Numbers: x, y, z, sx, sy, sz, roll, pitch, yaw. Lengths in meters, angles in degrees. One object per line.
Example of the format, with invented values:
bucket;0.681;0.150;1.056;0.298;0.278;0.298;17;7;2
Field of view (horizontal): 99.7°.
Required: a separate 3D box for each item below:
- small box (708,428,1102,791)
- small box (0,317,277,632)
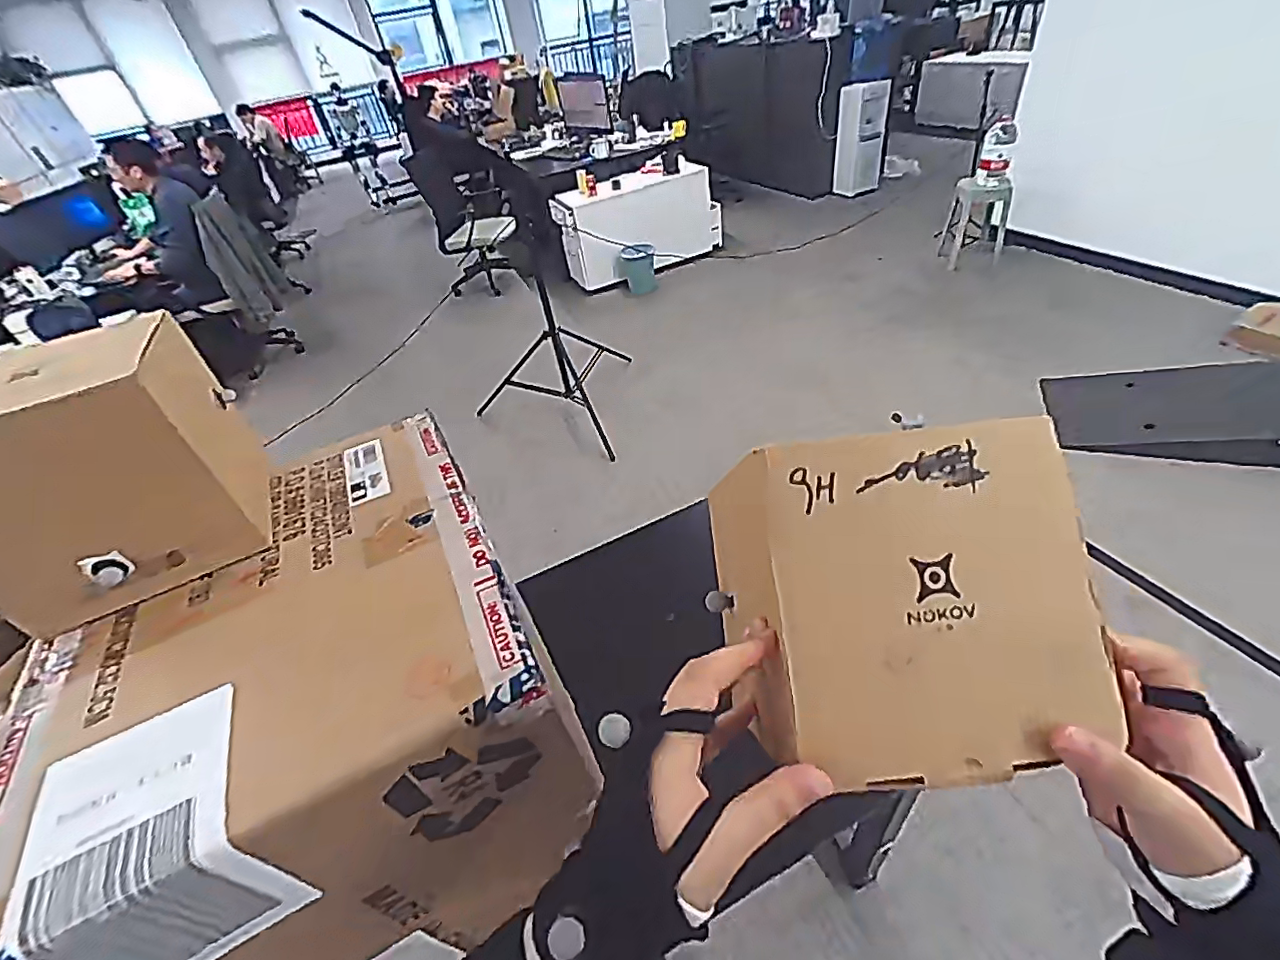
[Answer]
small box;0.144;0.074;0.362;0.168;0.176;0.179;-6;82;-2
small box;-0.436;-0.011;0.452;0.168;0.176;0.179;-27;42;-19
